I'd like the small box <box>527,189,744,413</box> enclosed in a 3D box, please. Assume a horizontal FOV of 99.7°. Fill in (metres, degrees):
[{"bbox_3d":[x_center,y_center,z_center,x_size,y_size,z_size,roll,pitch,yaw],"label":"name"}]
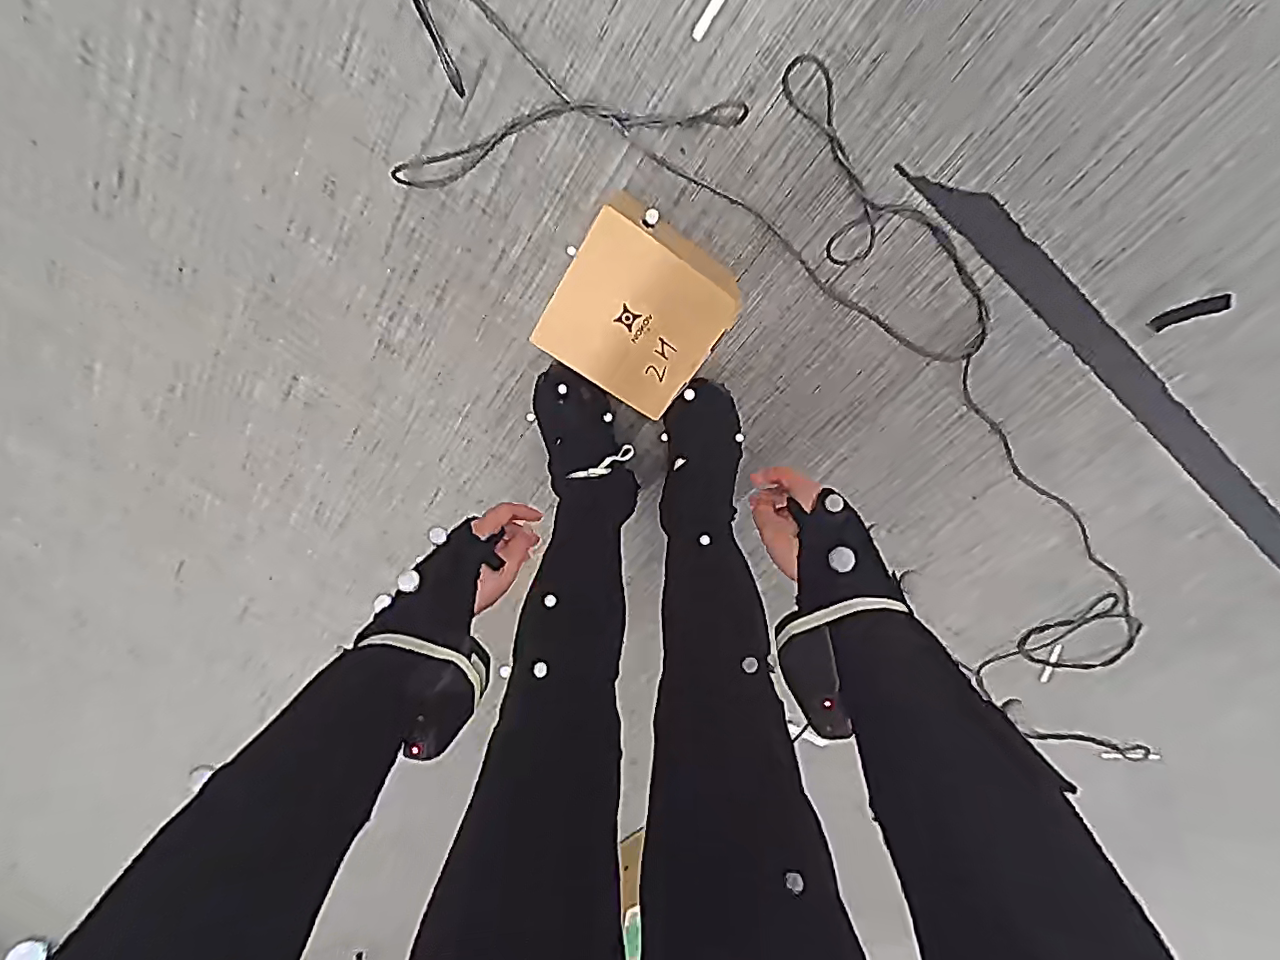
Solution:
[{"bbox_3d":[-0.004,-0.216,0.636,0.179,0.176,0.168,31,119,-15],"label":"small box"}]
